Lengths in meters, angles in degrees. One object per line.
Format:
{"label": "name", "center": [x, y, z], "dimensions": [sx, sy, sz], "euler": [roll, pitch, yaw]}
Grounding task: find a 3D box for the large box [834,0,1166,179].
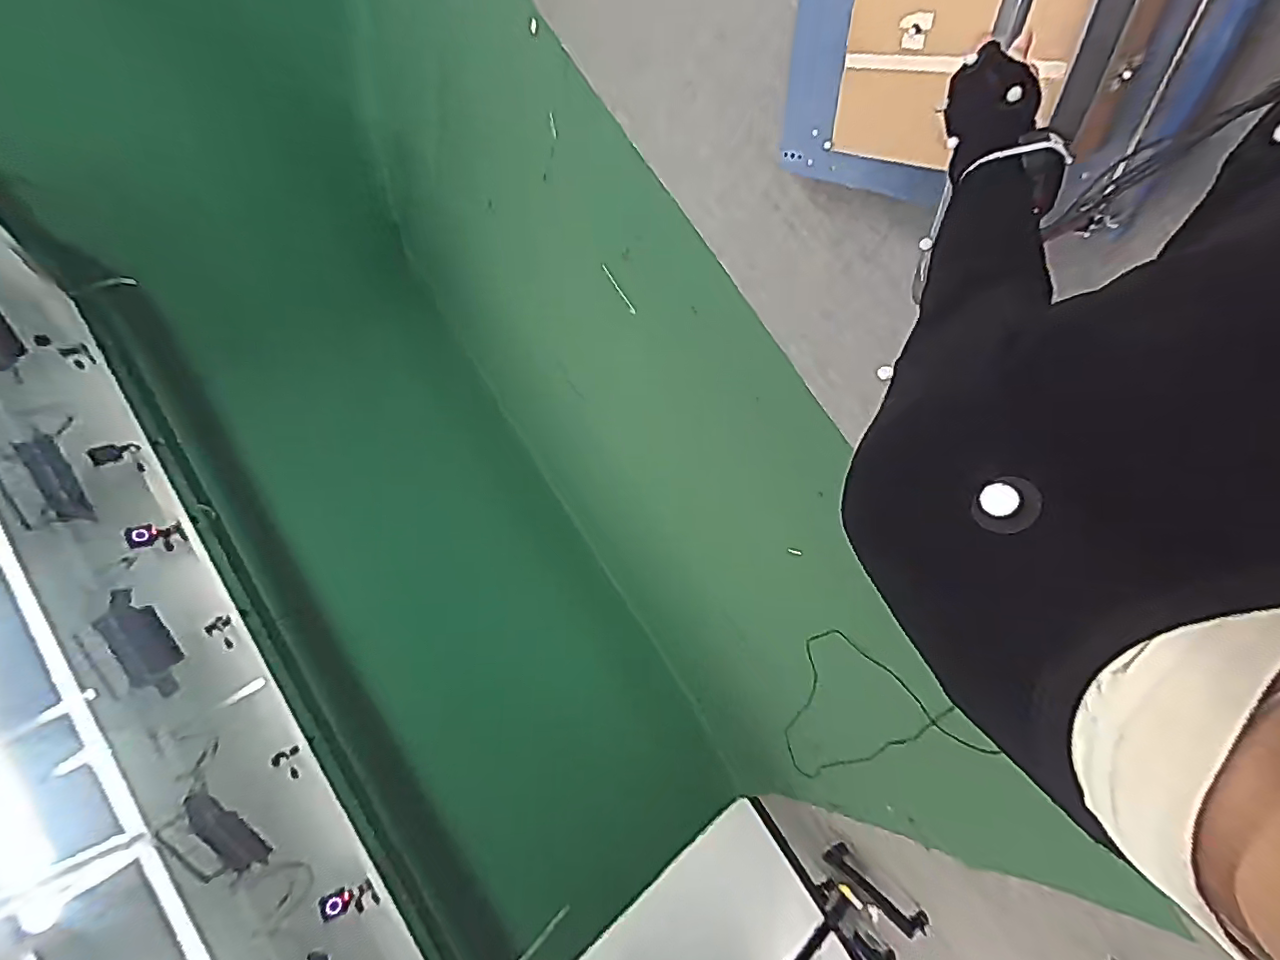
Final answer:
{"label": "large box", "center": [0.645, -0.786, 0.997], "dimensions": [0.408, 0.320, 0.320], "euler": [39, 146, 37]}
